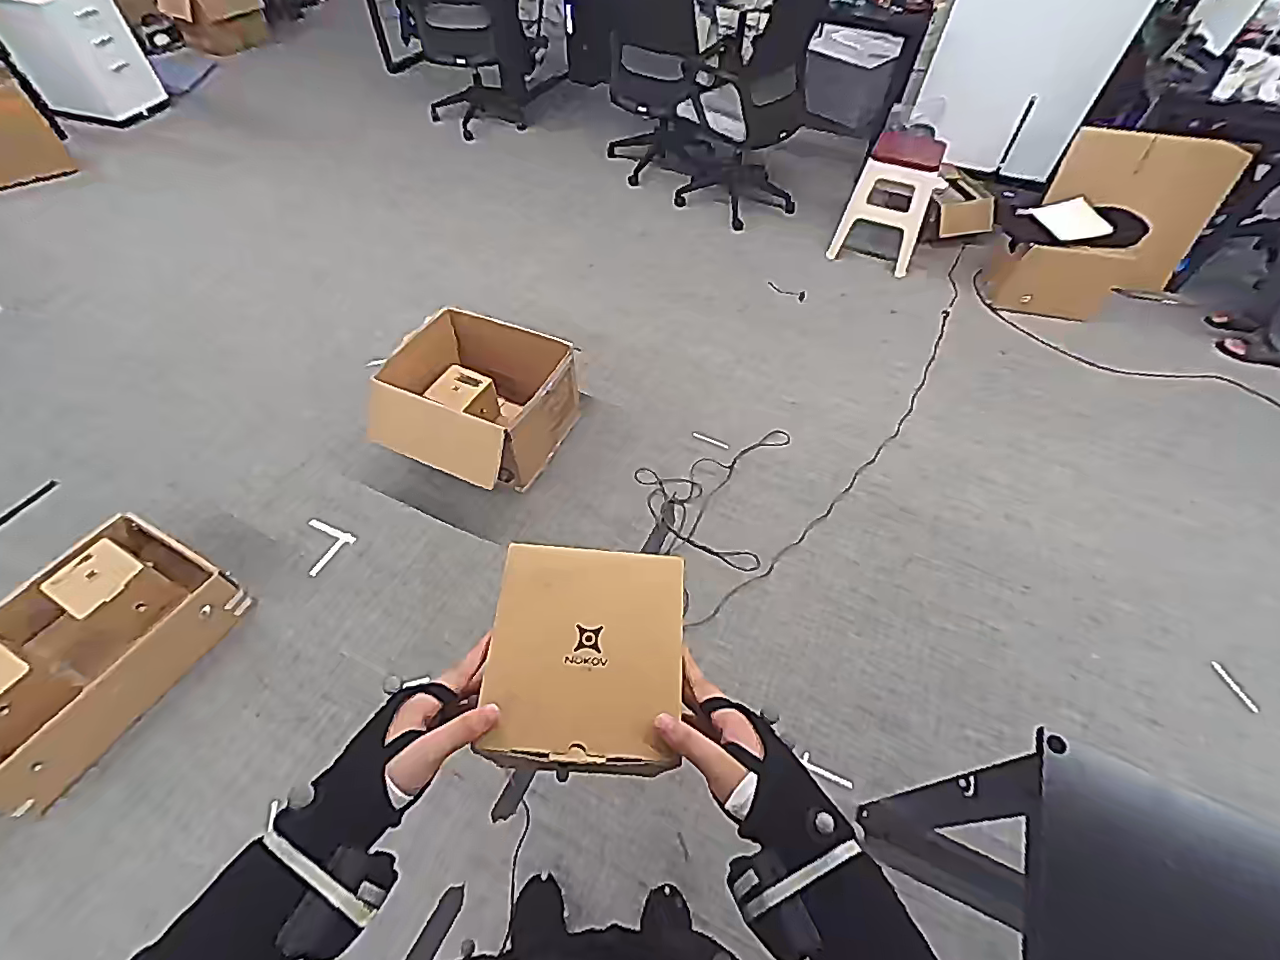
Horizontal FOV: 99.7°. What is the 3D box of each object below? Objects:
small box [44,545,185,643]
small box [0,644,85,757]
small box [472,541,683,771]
[{"bbox_3d":[-1.371,0.308,1.427,0.179,0.176,0.168,26,58,15],"label":"small box"},{"bbox_3d":[-1.491,0.518,1.267,0.168,0.176,0.179,24,54,13],"label":"small box"},{"bbox_3d":[-0.053,0.179,0.531,0.168,0.176,0.179,5,59,-3],"label":"small box"}]
